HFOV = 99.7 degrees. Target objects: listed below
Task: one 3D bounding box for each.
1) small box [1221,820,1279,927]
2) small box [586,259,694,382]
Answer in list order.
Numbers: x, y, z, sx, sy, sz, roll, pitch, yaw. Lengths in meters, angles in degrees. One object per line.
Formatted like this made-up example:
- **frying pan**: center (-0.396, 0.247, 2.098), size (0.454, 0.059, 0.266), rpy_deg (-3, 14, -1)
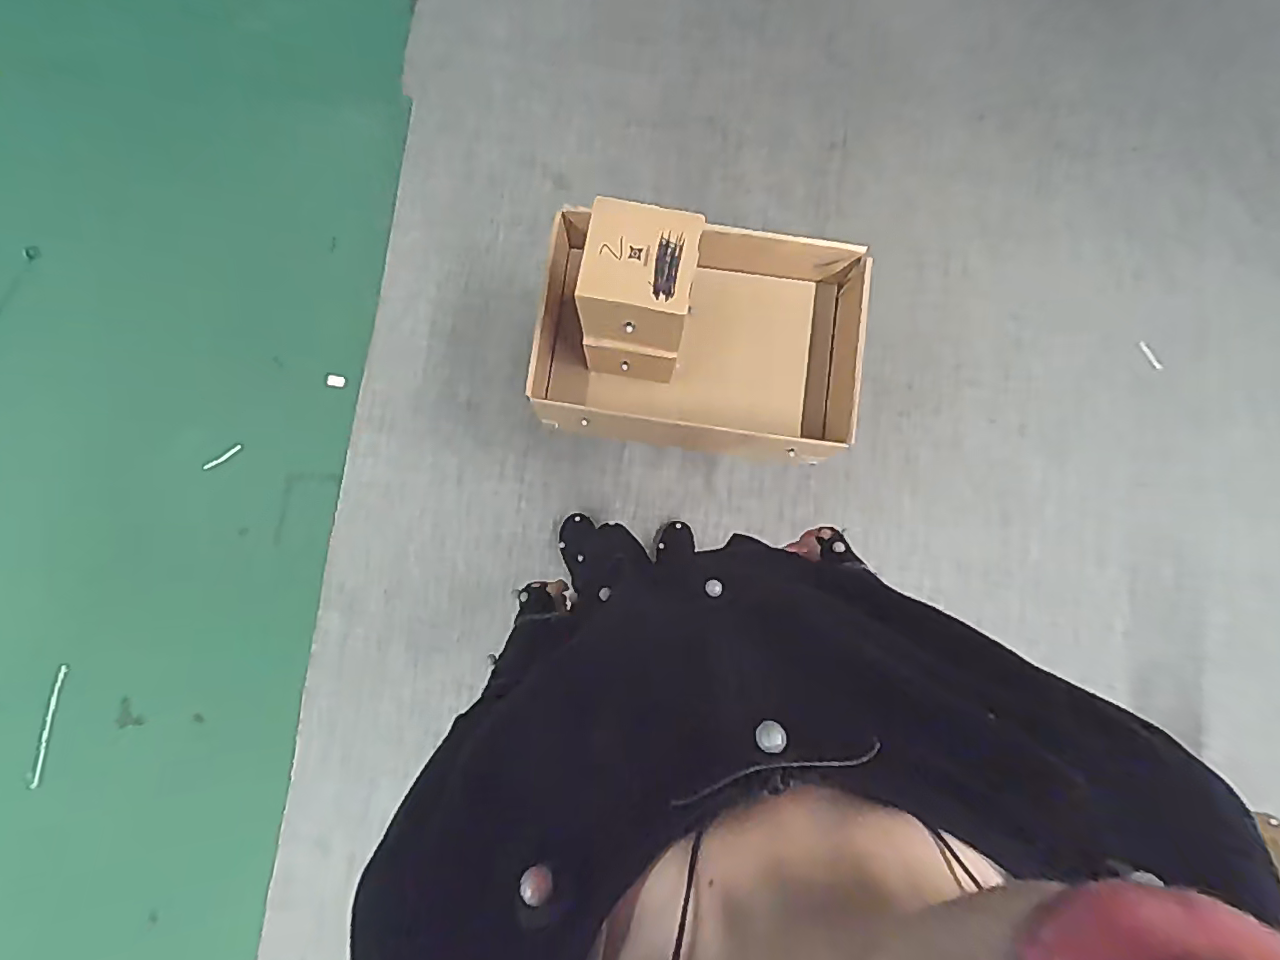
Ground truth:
- **small box**: center (1.443, 0.883, 1.188), size (0.168, 0.176, 0.179), rpy_deg (6, 83, 2)
- **small box**: center (-0.001, -0.302, 1.059), size (0.179, 0.176, 0.168), rpy_deg (10, 83, 0)
